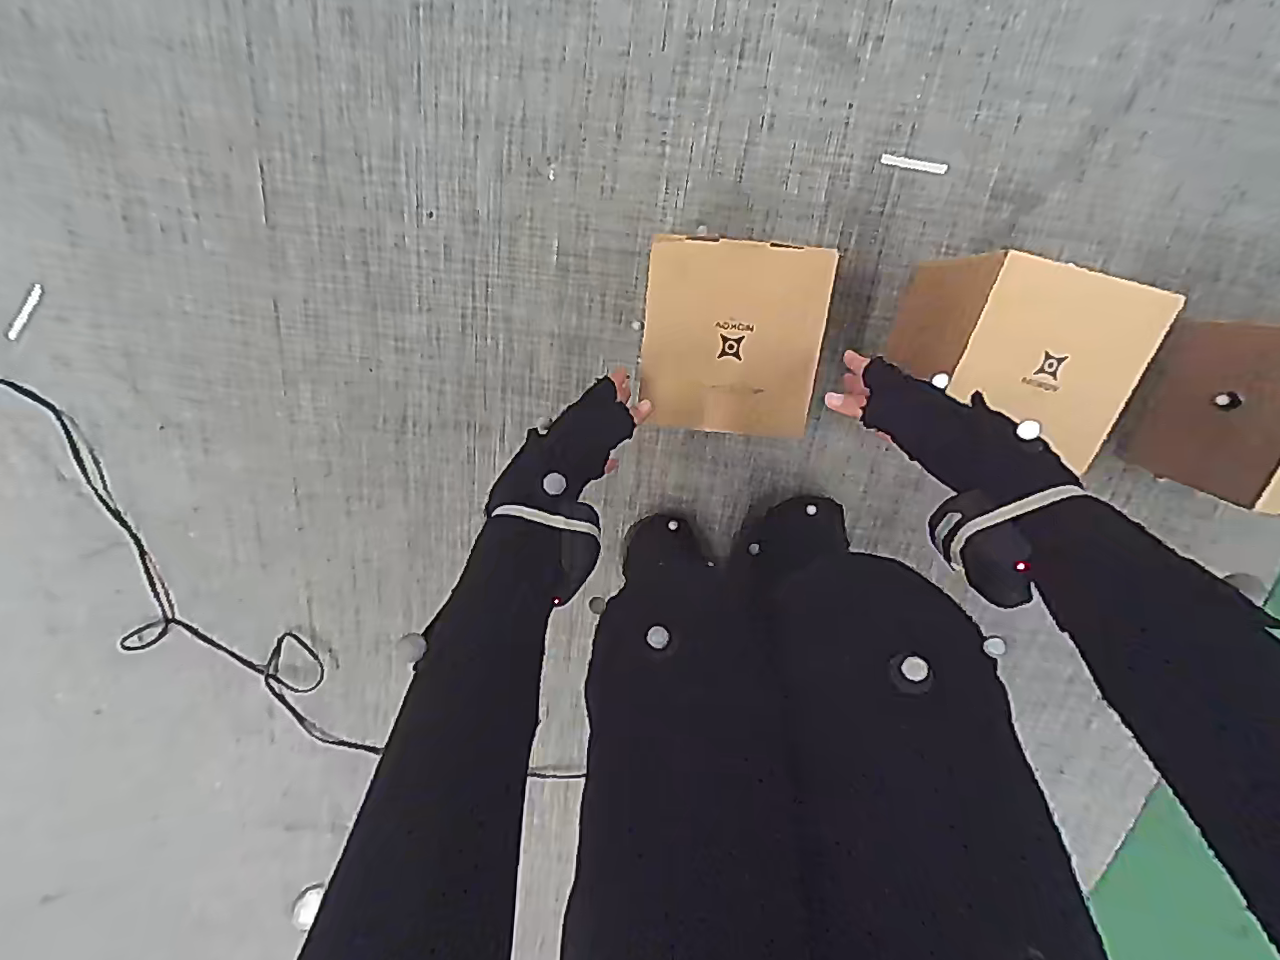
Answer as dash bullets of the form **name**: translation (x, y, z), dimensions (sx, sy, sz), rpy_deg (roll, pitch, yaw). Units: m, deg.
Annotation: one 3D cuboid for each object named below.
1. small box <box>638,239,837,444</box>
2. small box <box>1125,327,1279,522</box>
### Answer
- **small box**: translation (0.091, -0.152, 0.578), dimensions (0.168, 0.176, 0.179), rpy_deg (6, 111, 3)
- **small box**: translation (0.688, -0.059, 0.580), dimensions (0.168, 0.176, 0.179), rpy_deg (9, 109, 0)
